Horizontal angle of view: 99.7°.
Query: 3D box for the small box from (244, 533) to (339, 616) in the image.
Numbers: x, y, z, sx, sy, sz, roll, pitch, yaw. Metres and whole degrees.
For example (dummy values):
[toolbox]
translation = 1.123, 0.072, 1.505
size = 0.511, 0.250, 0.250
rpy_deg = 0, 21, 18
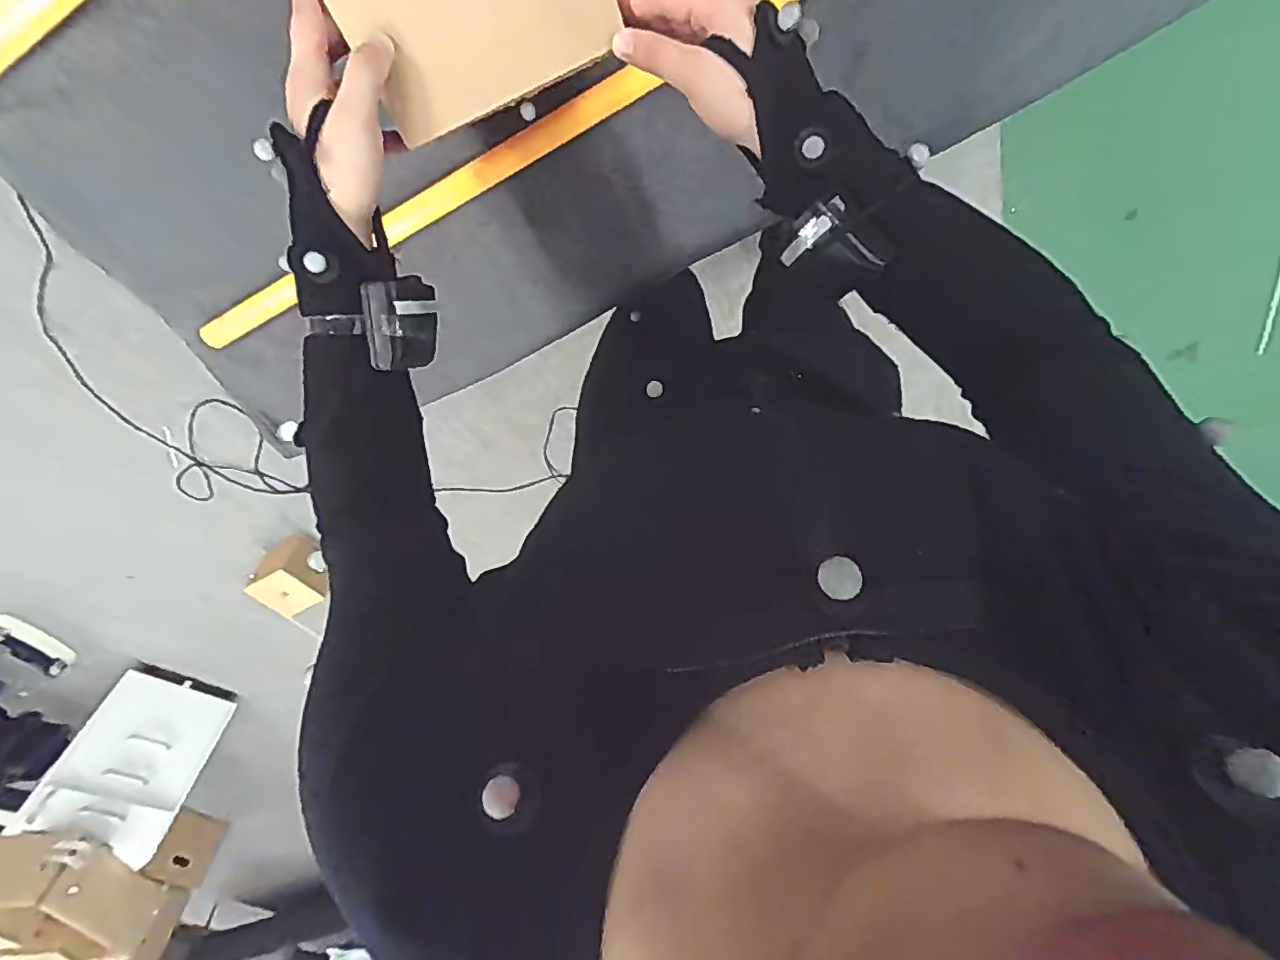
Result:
[small box]
translation = -1.105, 0.300, 1.736
size = 0.179, 0.176, 0.168
rpy_deg = -26, 126, 16
